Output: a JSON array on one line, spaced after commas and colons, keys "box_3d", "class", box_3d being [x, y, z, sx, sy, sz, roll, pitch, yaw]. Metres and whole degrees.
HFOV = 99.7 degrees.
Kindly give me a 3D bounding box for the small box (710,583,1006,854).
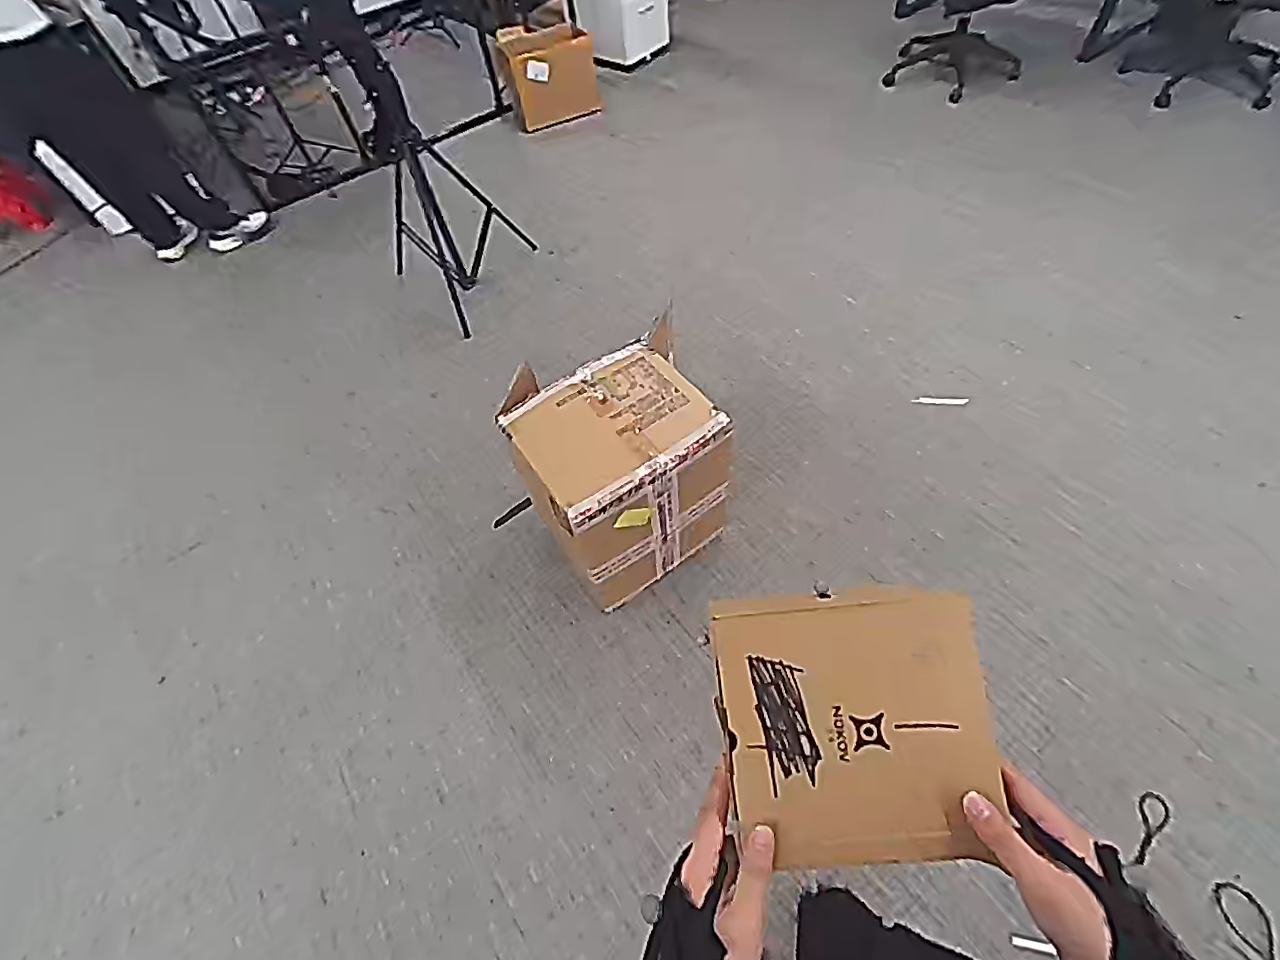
[{"box_3d": [0.153, 0.176, 0.448, 0.179, 0.176, 0.168, -6, 81, 4], "class": "small box"}]
